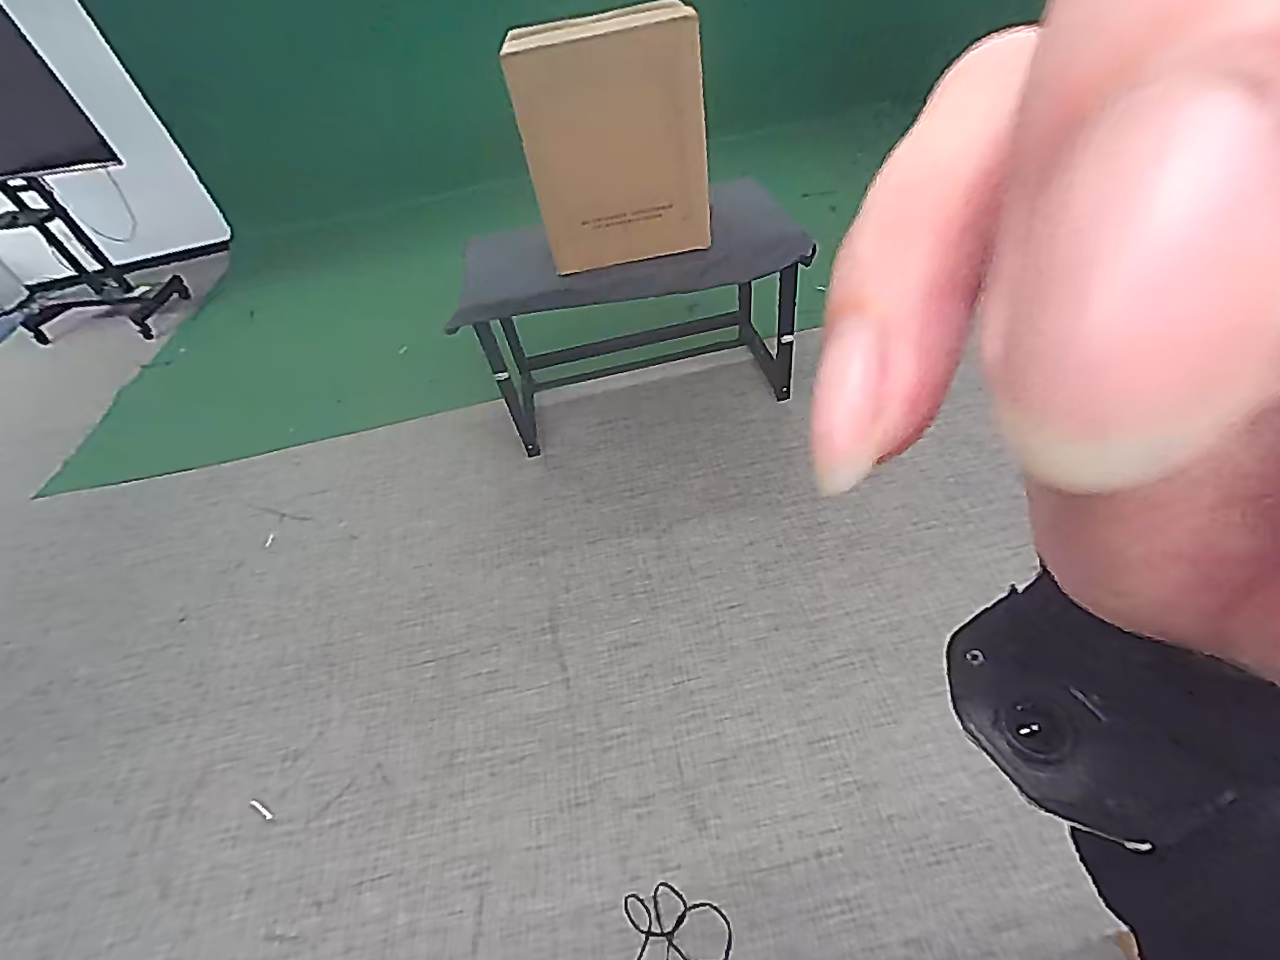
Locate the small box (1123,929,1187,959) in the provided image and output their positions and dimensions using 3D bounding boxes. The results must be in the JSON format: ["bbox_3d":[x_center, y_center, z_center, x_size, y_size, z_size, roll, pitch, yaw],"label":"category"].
[{"bbox_3d":[1.059,0.928,0.988,0.179,0.176,0.168,-8,47,3],"label":"small box"}]
